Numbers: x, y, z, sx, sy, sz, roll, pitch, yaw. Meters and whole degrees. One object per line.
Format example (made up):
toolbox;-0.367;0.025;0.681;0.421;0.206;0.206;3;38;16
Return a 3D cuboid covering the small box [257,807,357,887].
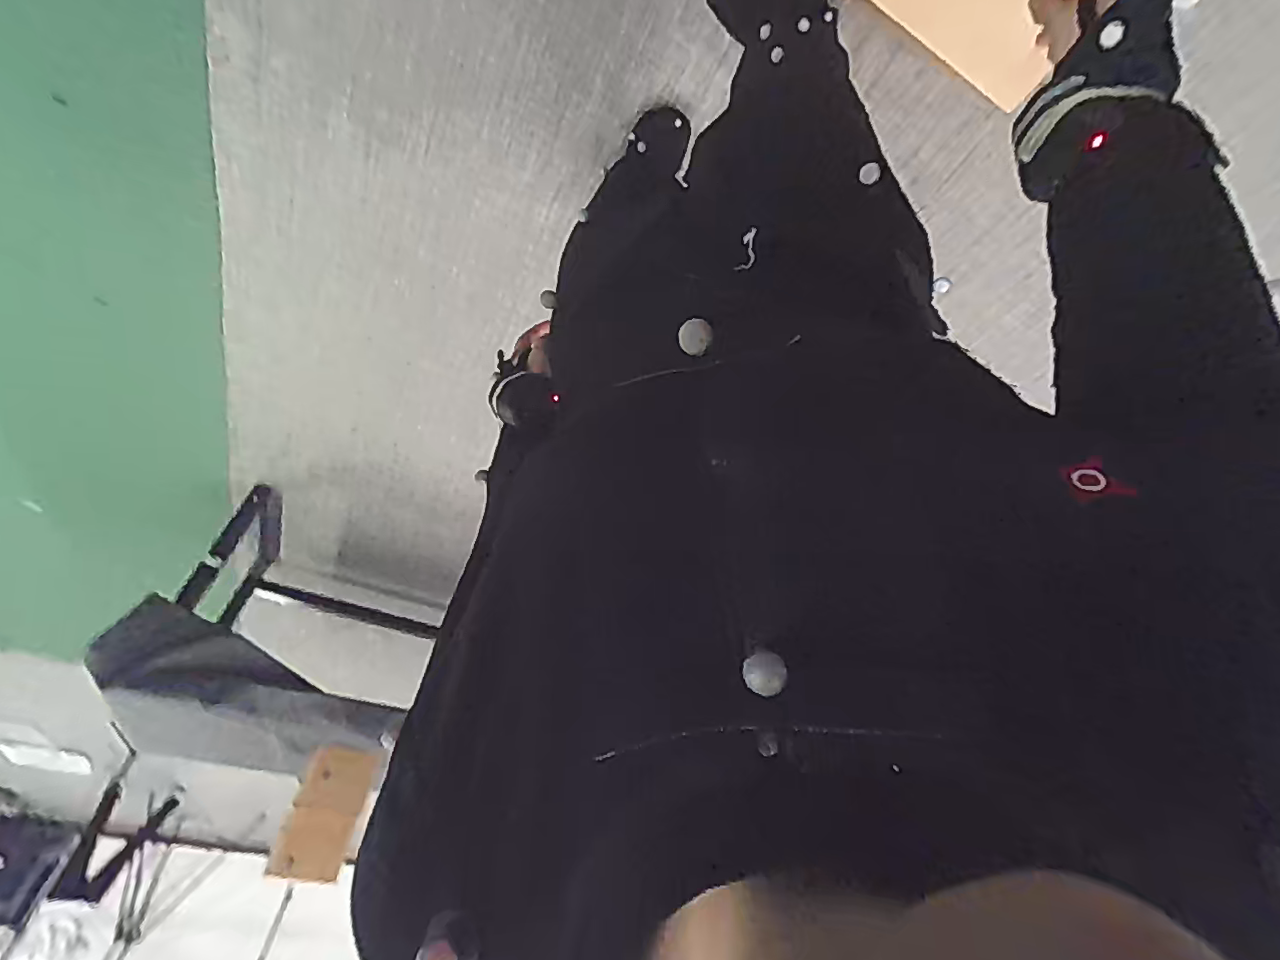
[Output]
small box;-0.938;1.042;1.535;0.179;0.176;0.168;29;133;-24

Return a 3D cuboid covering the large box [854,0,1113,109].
large box;0.419;-0.778;0.694;0.408;0.320;0.320;20;135;-19

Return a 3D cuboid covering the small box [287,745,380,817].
small box;-0.927;0.920;1.641;0.179;0.176;0.168;28;133;-25
